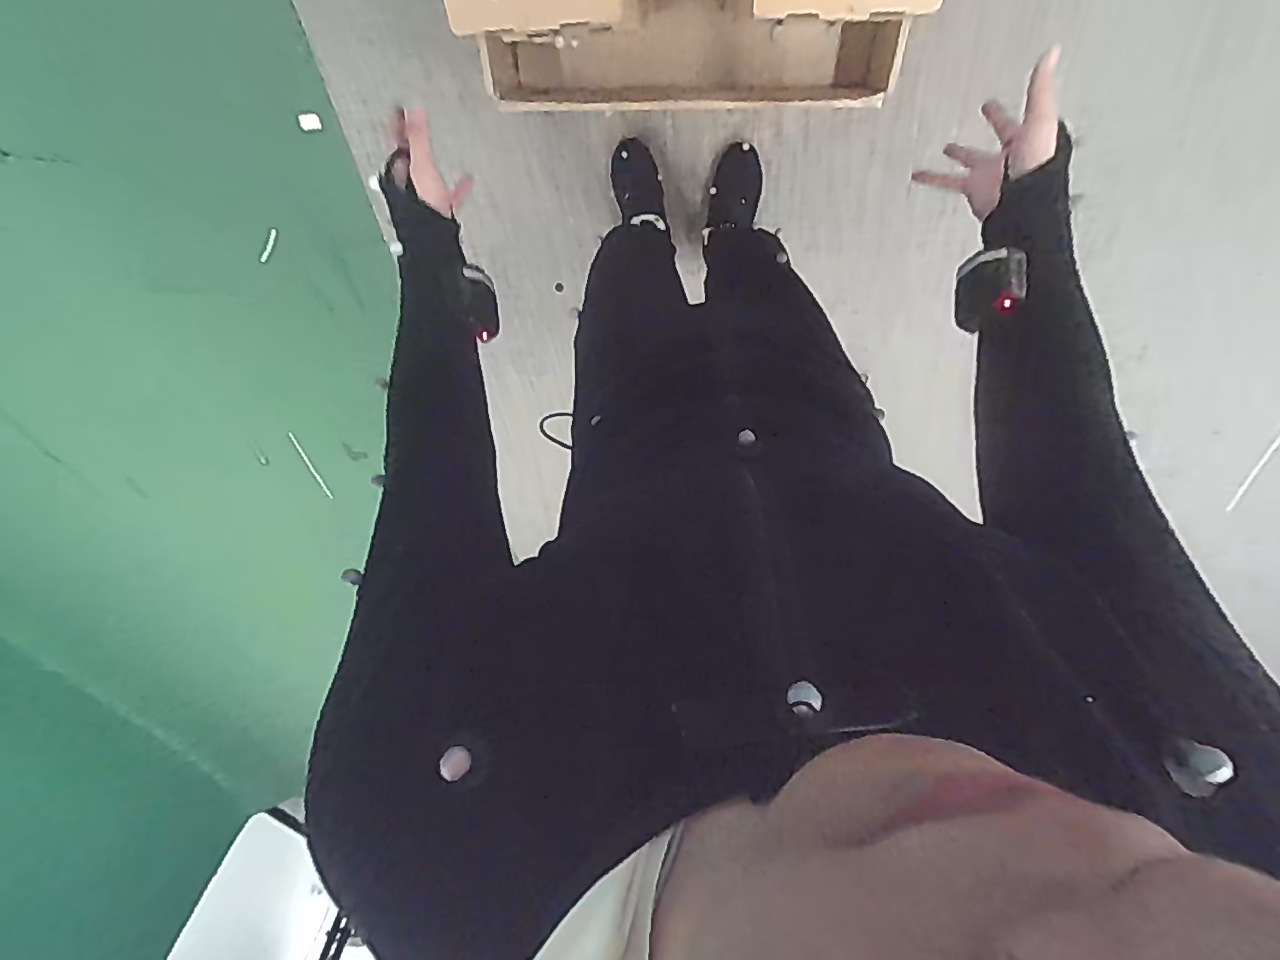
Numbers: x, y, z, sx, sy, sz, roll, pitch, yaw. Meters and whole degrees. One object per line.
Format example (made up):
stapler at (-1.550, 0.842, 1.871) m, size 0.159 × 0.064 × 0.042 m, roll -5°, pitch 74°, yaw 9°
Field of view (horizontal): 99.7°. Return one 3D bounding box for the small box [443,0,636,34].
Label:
small box at (-0.094, -0.535, 0.505) m, size 0.168 × 0.176 × 0.179 m, roll 1°, pitch 130°, yaw 6°

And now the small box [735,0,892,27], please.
small box at (0.199, -0.626, 0.609) m, size 0.168 × 0.176 × 0.179 m, roll 2°, pitch 129°, yaw 4°

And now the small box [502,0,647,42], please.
small box at (-0.082, -0.635, 0.636) m, size 0.168 × 0.176 × 0.179 m, roll -1°, pitch 129°, yaw 6°

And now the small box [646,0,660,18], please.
small box at (-0.065, -0.747, 0.753) m, size 0.179 × 0.176 × 0.168 m, roll 0°, pitch 129°, yaw 5°
